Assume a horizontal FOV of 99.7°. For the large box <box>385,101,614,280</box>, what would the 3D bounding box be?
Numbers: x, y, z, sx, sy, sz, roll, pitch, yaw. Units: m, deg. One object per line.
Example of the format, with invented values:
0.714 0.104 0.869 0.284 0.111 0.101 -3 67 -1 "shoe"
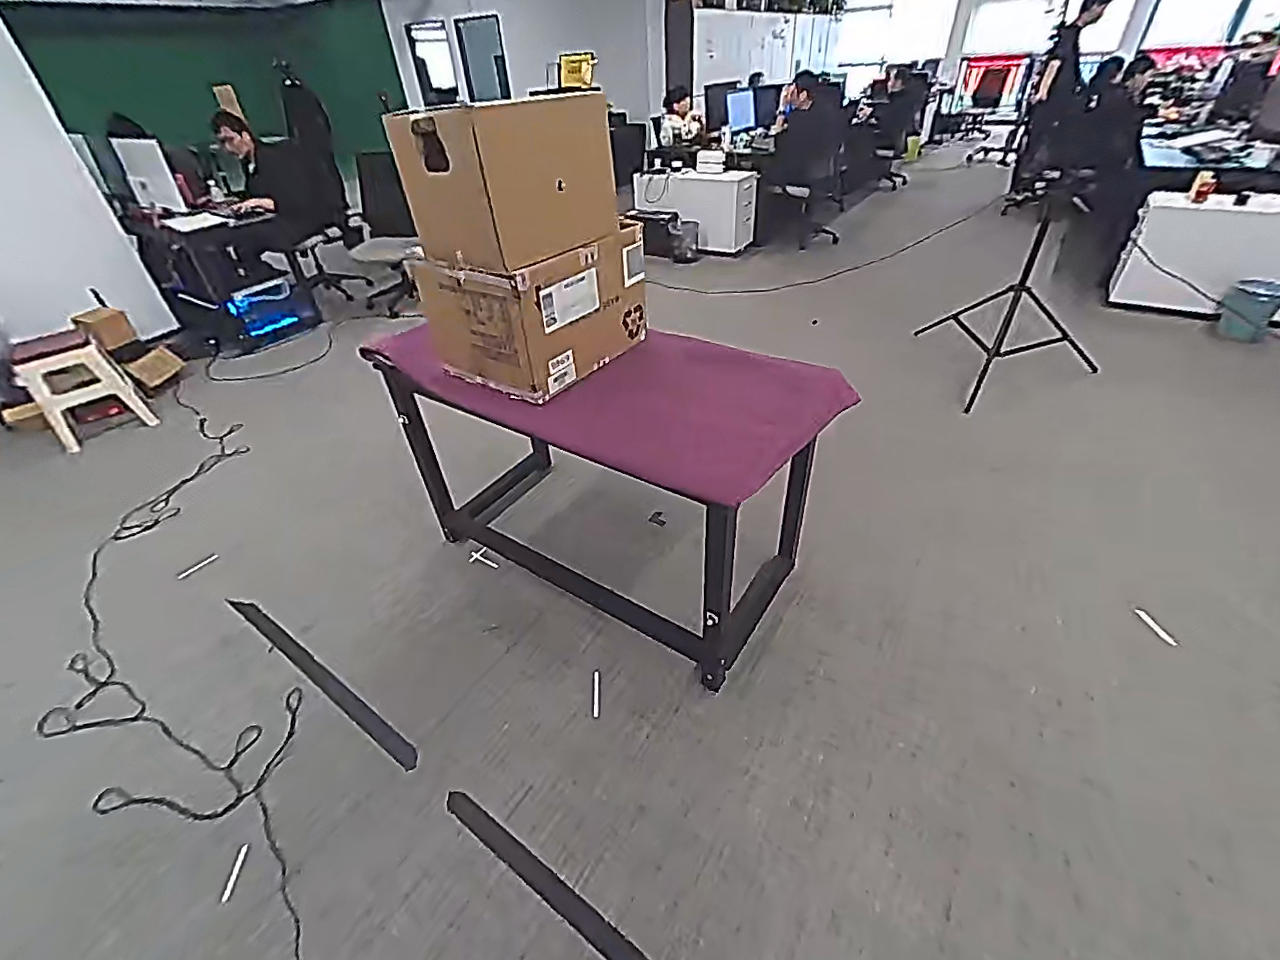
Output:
-0.313 -0.710 1.318 0.320 0.320 0.408 18 43 32 "large box"
